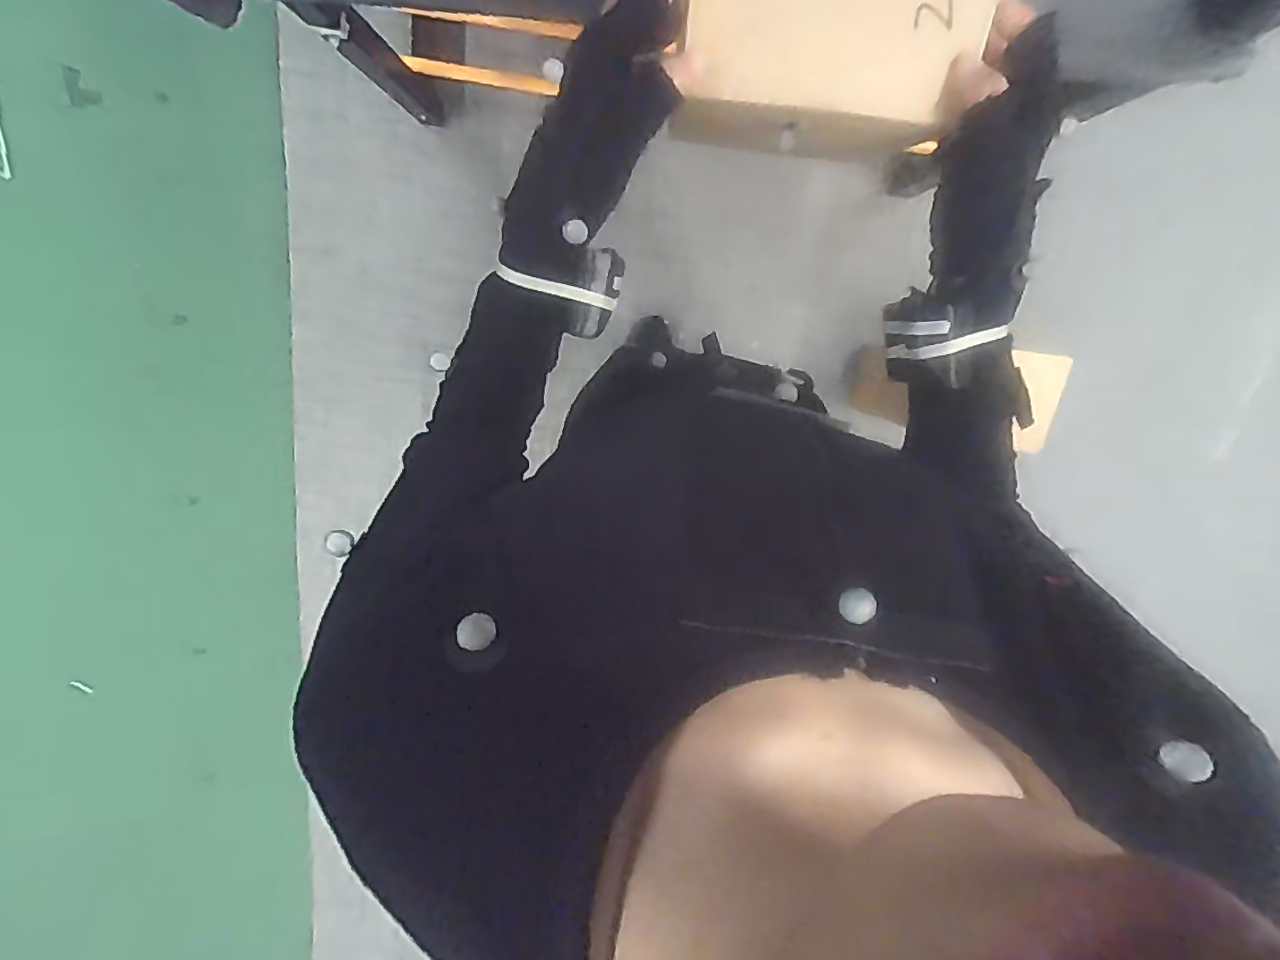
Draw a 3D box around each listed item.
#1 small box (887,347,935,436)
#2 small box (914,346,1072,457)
[{"bbox_3d":[0.664,-0.192,1.180,0.168,0.176,0.179,5,105,-1],"label":"small box"},{"bbox_3d":[0.650,-0.155,1.021,0.168,0.176,0.179,8,106,-1],"label":"small box"}]
